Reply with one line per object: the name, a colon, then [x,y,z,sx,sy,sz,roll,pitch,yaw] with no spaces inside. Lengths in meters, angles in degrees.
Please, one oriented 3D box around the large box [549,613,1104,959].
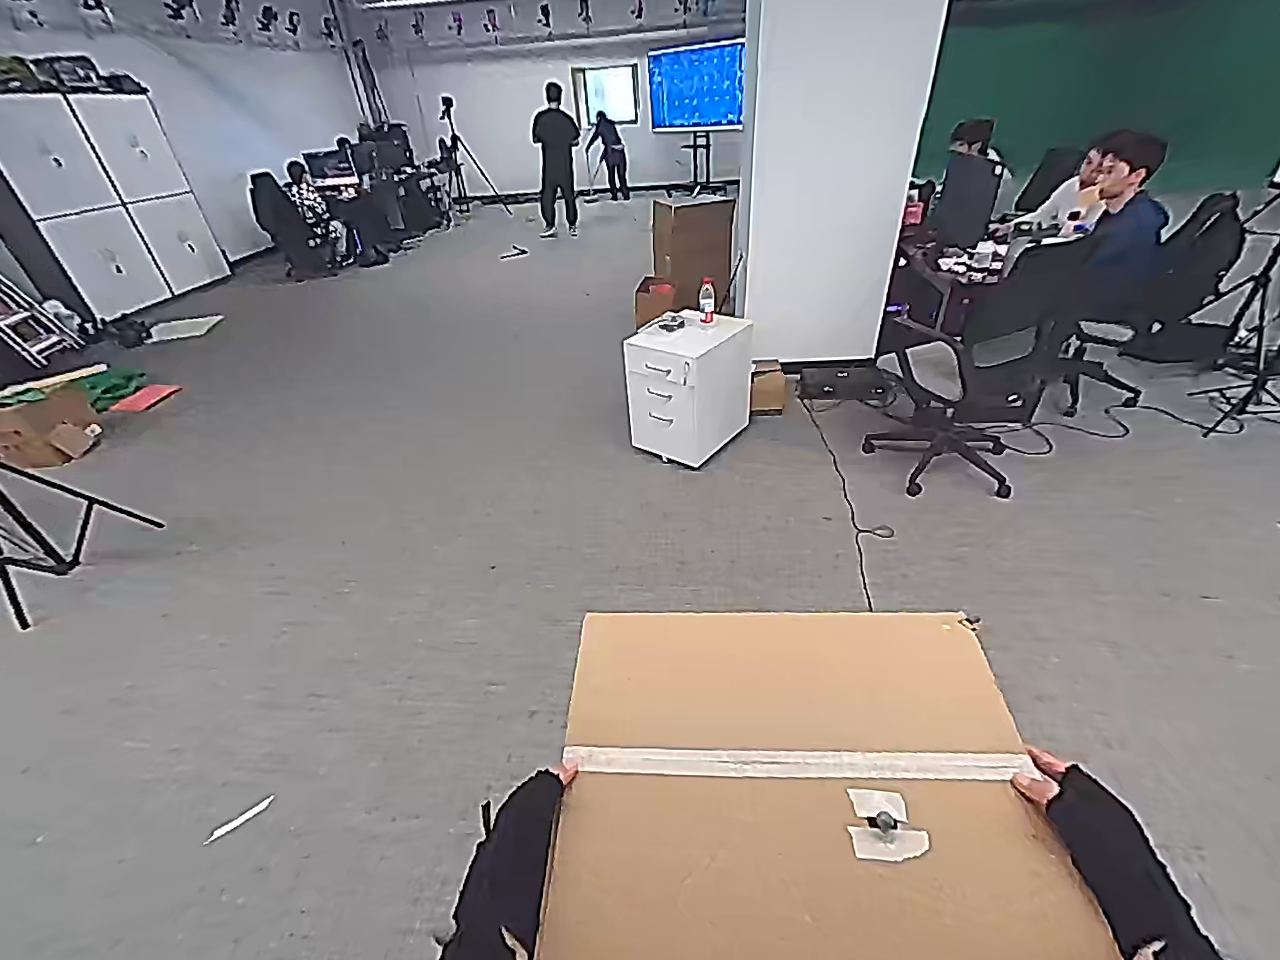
large box: [0.145,0.363,0.592,0.408,0.320,0.320,-1,43,6]
